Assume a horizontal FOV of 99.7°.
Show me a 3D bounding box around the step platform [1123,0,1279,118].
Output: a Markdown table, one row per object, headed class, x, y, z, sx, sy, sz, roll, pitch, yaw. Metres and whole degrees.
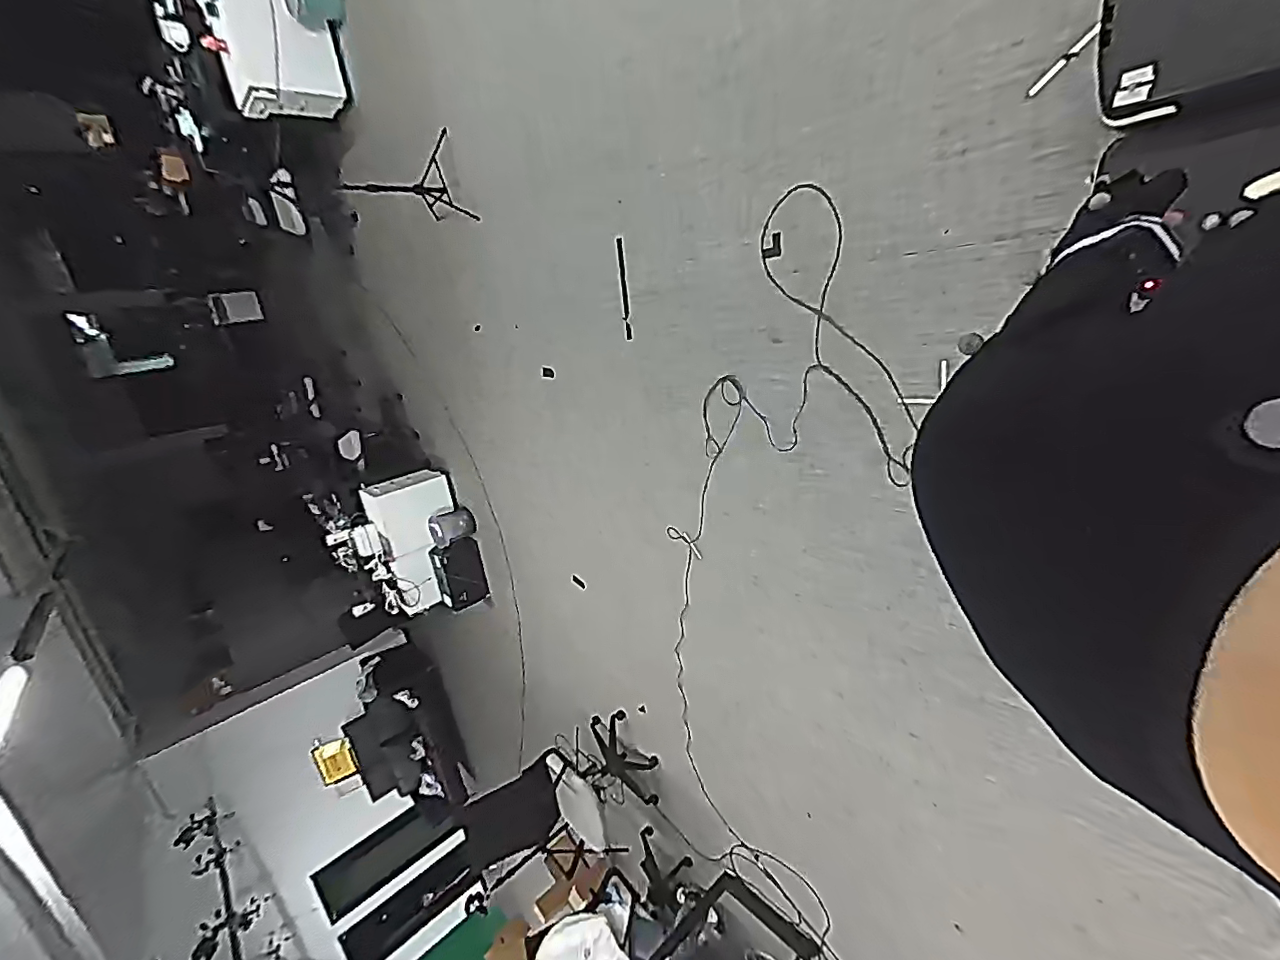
| class | x | y | z | sx | sy | sz | roll | pitch | yaw |
| --- | --- | --- | --- | --- | --- | --- | --- | --- | --- |
| step platform | 1.093 | -0.753 | 0.713 | 0.684 | 0.204 | 0.286 | 10 | 116 | 46 |
